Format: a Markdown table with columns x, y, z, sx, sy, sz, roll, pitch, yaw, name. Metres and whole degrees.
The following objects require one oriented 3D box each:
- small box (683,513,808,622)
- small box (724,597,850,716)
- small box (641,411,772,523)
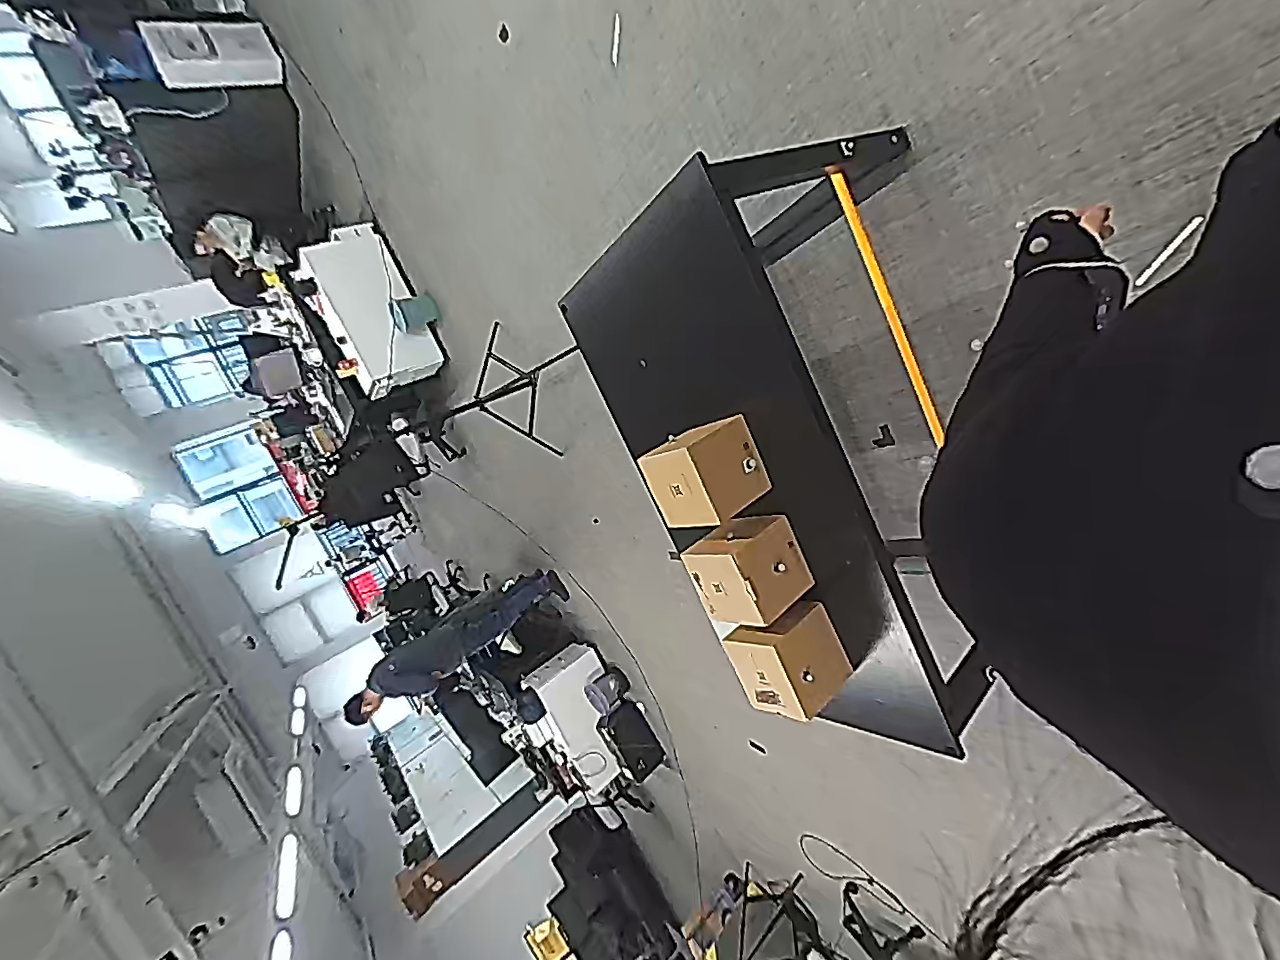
| x | y | z | sx | sy | sz | roll | pitch | yaw | name |
| --- | --- | --- | --- | --- | --- | --- | --- | --- | --- |
| 0.231 | 0.179 | 1.149 | 0.179 | 0.176 | 0.168 | -13 | 104 | 57 | small box |
| 0.322 | 0.372 | 1.174 | 0.168 | 0.176 | 0.179 | -18 | 99 | 58 | small box |
| 0.138 | -0.024 | 1.118 | 0.179 | 0.176 | 0.168 | -13 | 106 | 57 | small box |
